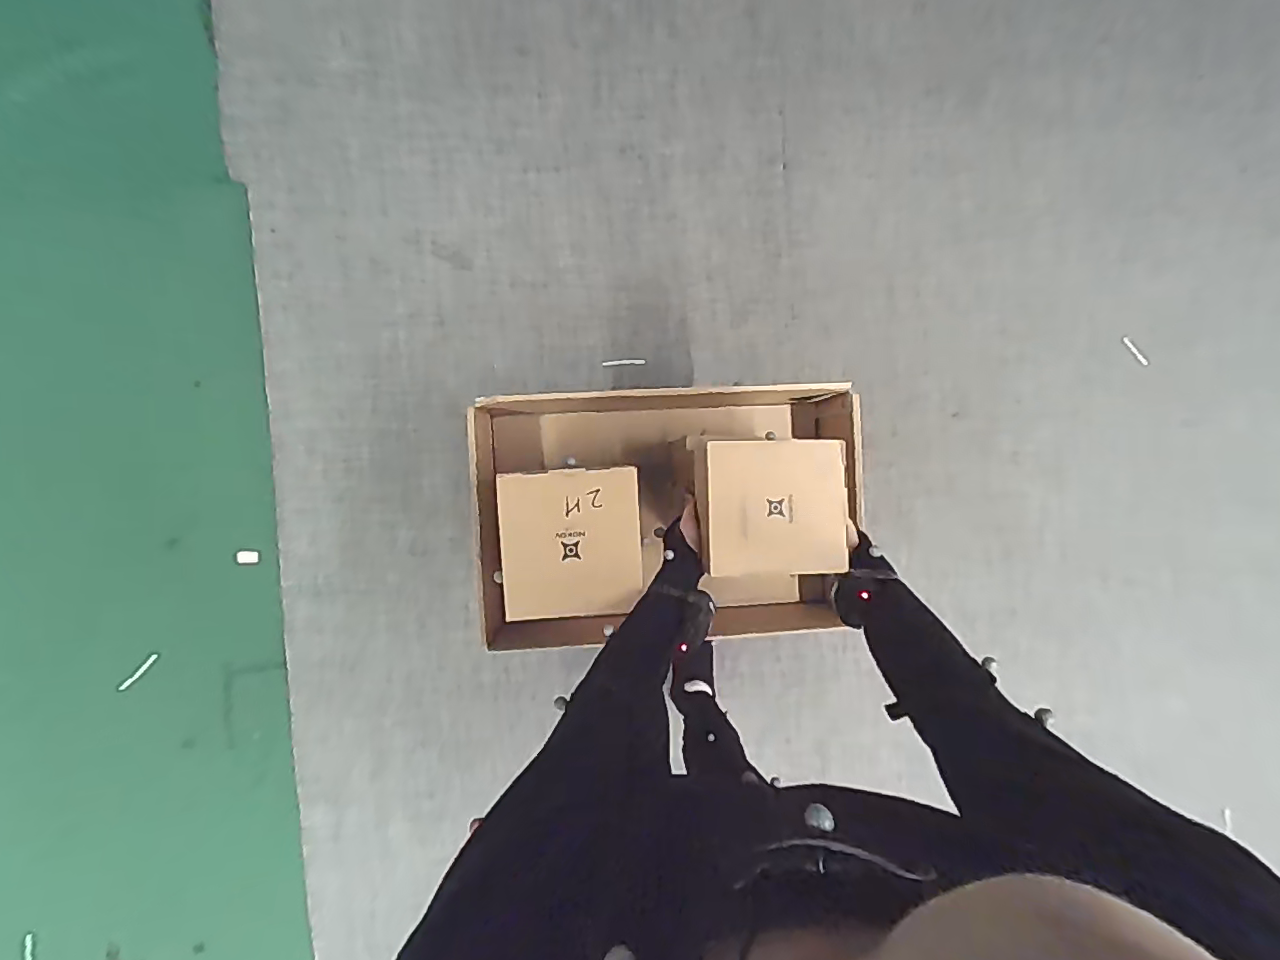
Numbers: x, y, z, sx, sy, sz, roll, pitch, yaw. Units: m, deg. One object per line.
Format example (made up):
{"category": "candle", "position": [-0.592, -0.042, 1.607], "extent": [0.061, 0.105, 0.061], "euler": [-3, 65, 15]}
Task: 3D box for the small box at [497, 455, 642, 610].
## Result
{"category": "small box", "position": [-0.084, 0.058, 0.704], "extent": [0.168, 0.176, 0.179], "euler": [-3, 92, -4]}
